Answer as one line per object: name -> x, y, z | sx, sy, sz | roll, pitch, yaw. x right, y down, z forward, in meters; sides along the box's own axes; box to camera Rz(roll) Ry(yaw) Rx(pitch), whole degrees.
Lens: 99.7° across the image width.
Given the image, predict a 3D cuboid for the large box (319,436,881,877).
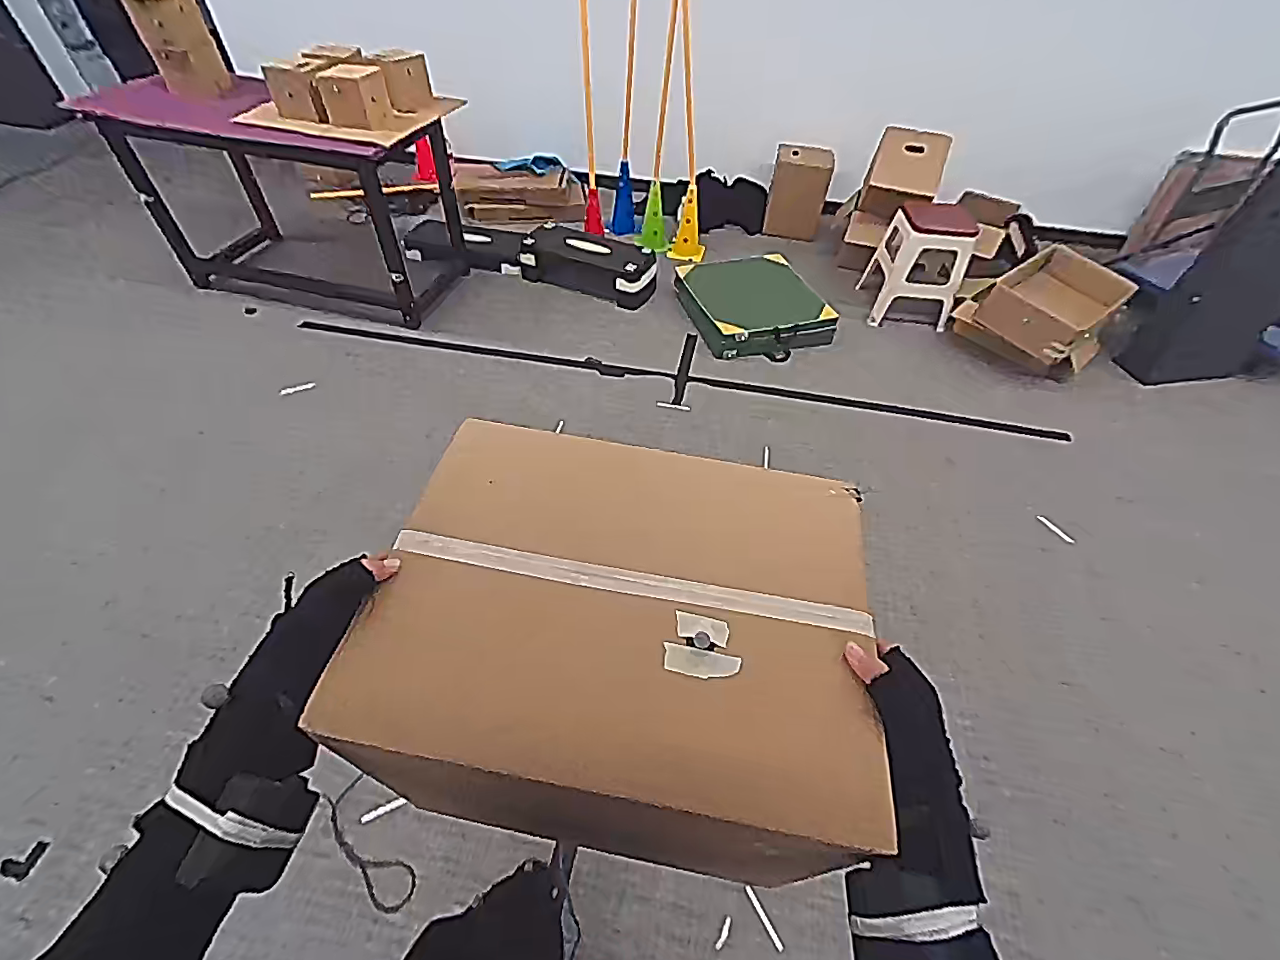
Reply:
large box -> -0.021, 0.192, 0.578 | 0.408, 0.320, 0.320 | 10, 51, 3
